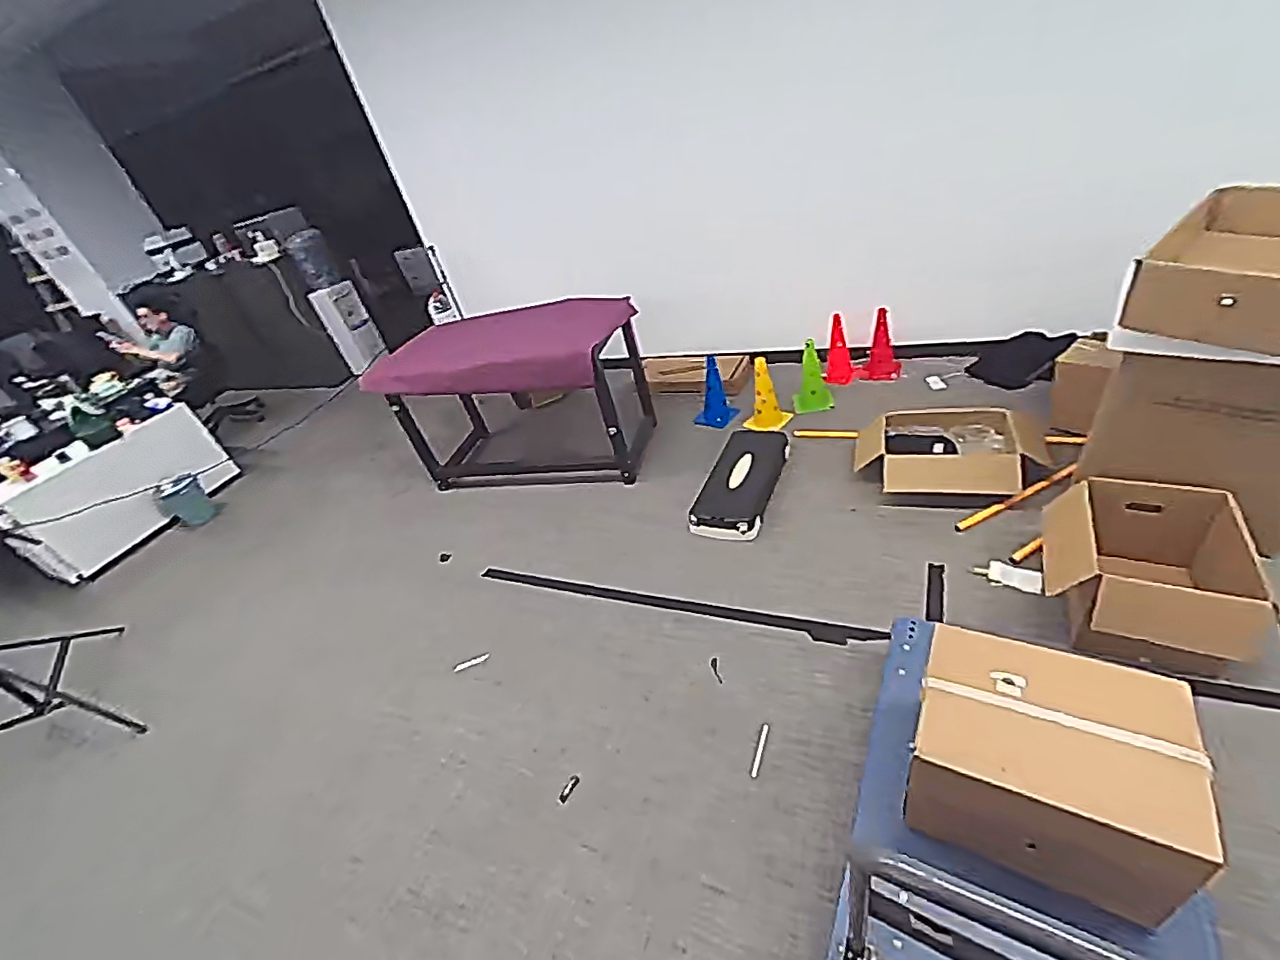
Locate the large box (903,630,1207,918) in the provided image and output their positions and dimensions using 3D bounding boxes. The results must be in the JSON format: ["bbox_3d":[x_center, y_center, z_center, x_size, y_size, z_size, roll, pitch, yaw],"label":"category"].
[{"bbox_3d":[0.766,0.556,1.069,0.408,0.320,0.320,8,41,31],"label":"large box"}]
